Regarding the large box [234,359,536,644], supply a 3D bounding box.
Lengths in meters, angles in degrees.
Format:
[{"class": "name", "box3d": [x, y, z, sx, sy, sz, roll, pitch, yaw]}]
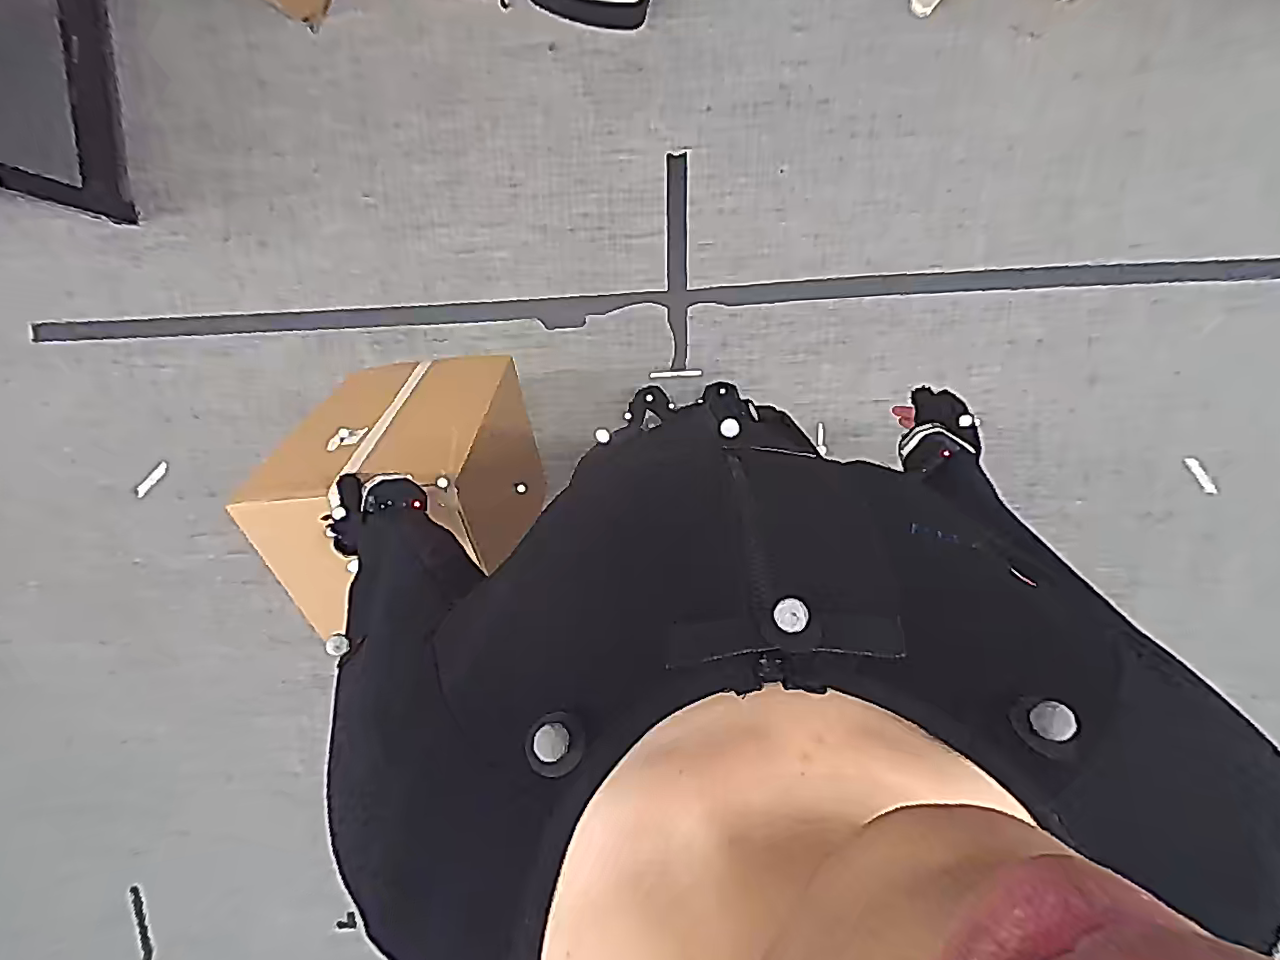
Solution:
[{"class": "large box", "box3d": [-0.384, 0.023, 0.957, 0.320, 0.408, 0.320, -6, 128, 3]}]
